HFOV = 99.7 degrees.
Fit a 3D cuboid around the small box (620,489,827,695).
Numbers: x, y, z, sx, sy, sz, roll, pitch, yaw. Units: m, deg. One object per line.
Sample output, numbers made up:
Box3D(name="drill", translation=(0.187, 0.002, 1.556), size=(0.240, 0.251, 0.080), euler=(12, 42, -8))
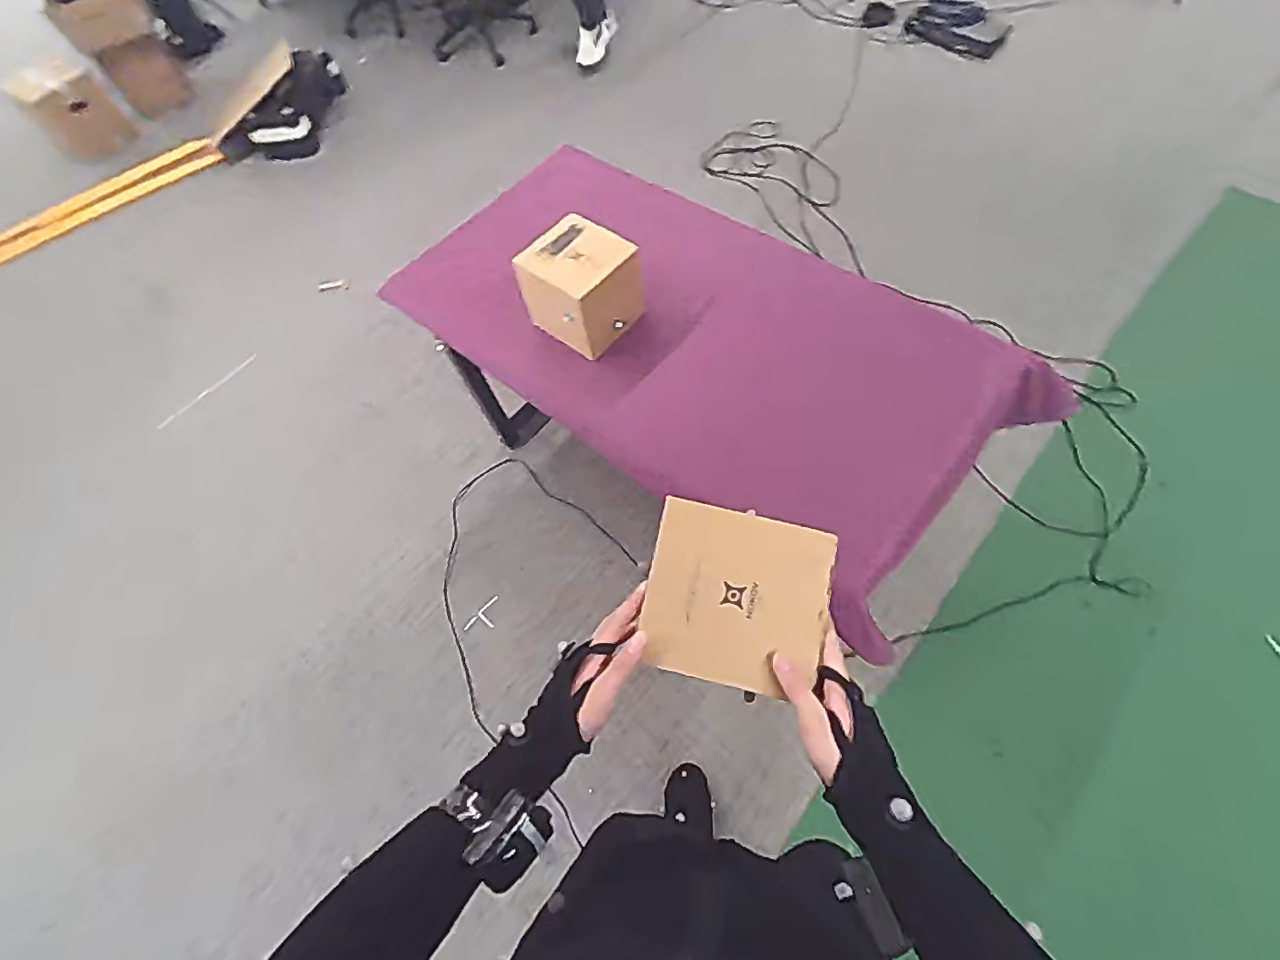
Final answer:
Box3D(name="small box", translation=(0.084, 0.124, 0.599), size=(0.179, 0.176, 0.168), euler=(13, 75, 4))
